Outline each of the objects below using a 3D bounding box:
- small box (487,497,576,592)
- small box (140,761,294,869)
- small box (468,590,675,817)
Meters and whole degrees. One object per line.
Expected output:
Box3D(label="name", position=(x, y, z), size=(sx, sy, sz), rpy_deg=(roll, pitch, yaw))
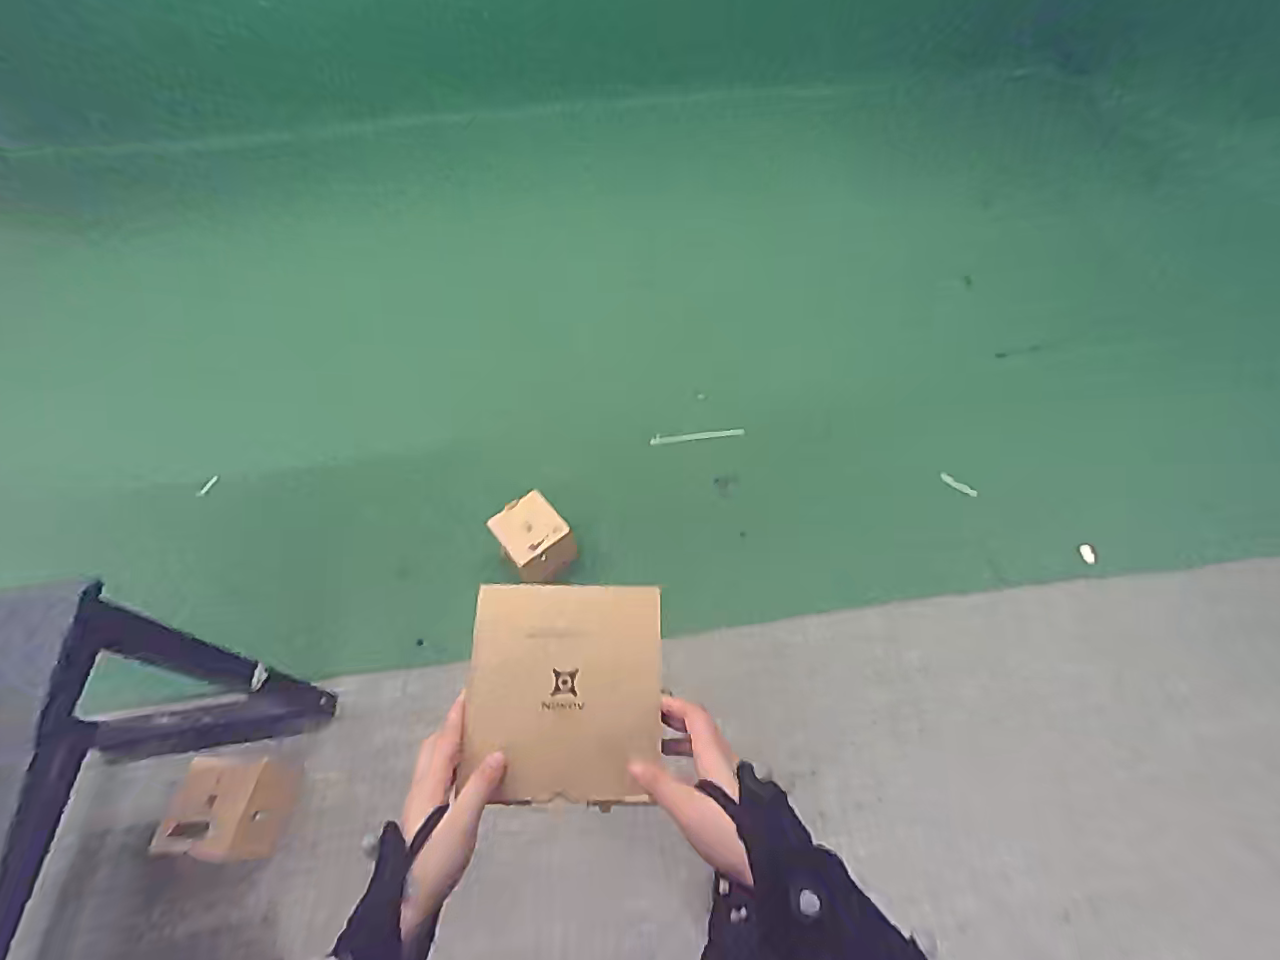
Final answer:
Box3D(label="small box", position=(-0.300, 0.187, 1.520), size=(0.168, 0.176, 0.179), rpy_deg=(-35, 61, -19))
Box3D(label="small box", position=(-0.900, 0.728, 1.174), size=(0.168, 0.176, 0.179), rpy_deg=(4, 55, 4))
Box3D(label="small box", position=(-0.055, 0.214, 0.529), size=(0.168, 0.176, 0.179), rpy_deg=(2, 66, -3))
